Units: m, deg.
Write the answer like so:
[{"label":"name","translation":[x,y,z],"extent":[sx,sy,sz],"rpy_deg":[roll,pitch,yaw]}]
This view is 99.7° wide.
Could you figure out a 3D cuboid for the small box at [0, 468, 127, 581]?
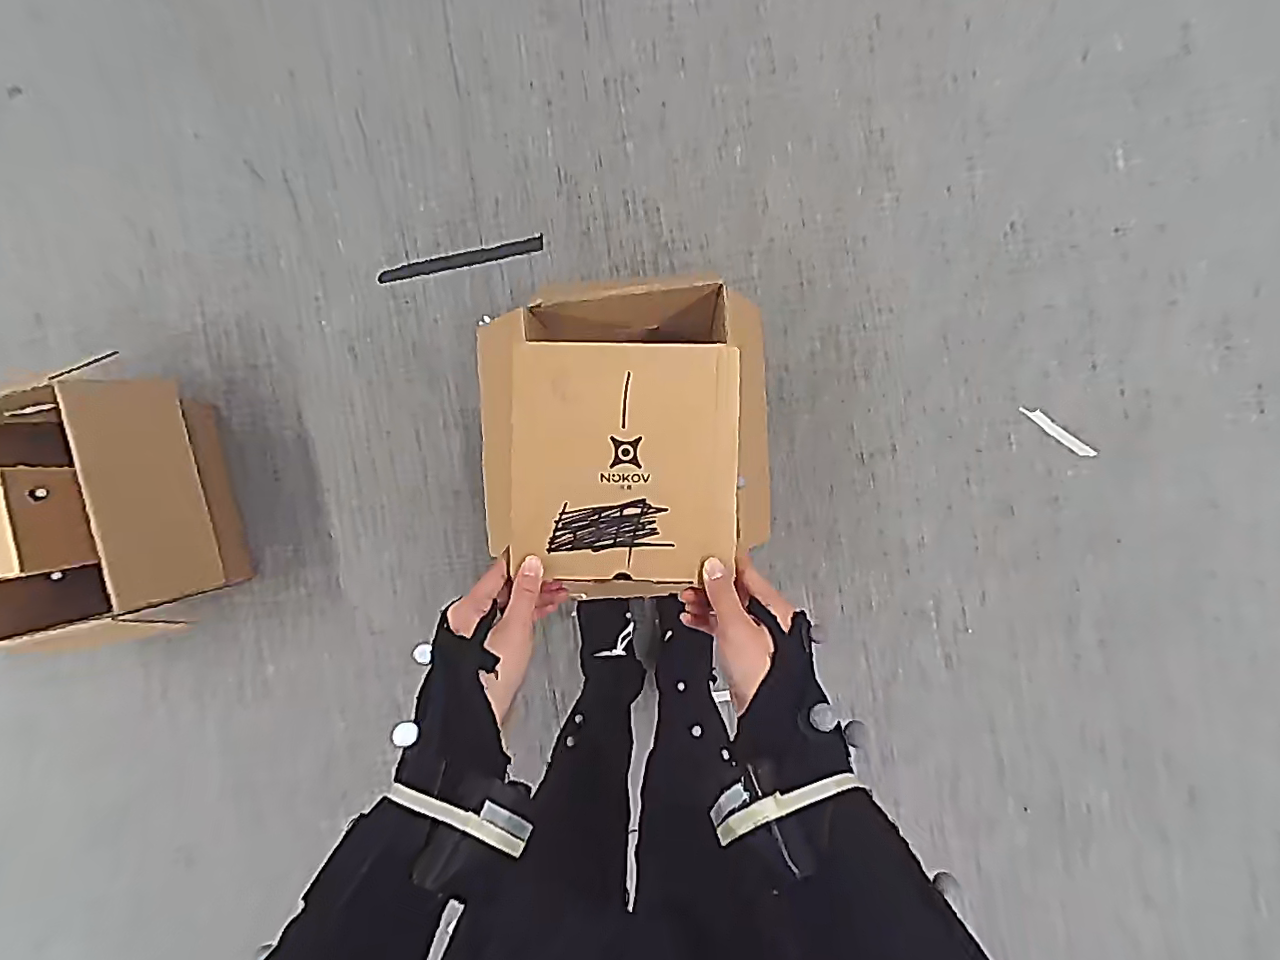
[{"label":"small box","translation":[-1.062,0.078,0.943],"extent":[0.168,0.176,0.179],"rpy_deg":[-11,91,5]}]

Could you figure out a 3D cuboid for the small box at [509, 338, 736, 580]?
[{"label":"small box","translation":[-0.012,-0.017,0.475],"extent":[0.168,0.176,0.179],"rpy_deg":[1,91,1]}]
